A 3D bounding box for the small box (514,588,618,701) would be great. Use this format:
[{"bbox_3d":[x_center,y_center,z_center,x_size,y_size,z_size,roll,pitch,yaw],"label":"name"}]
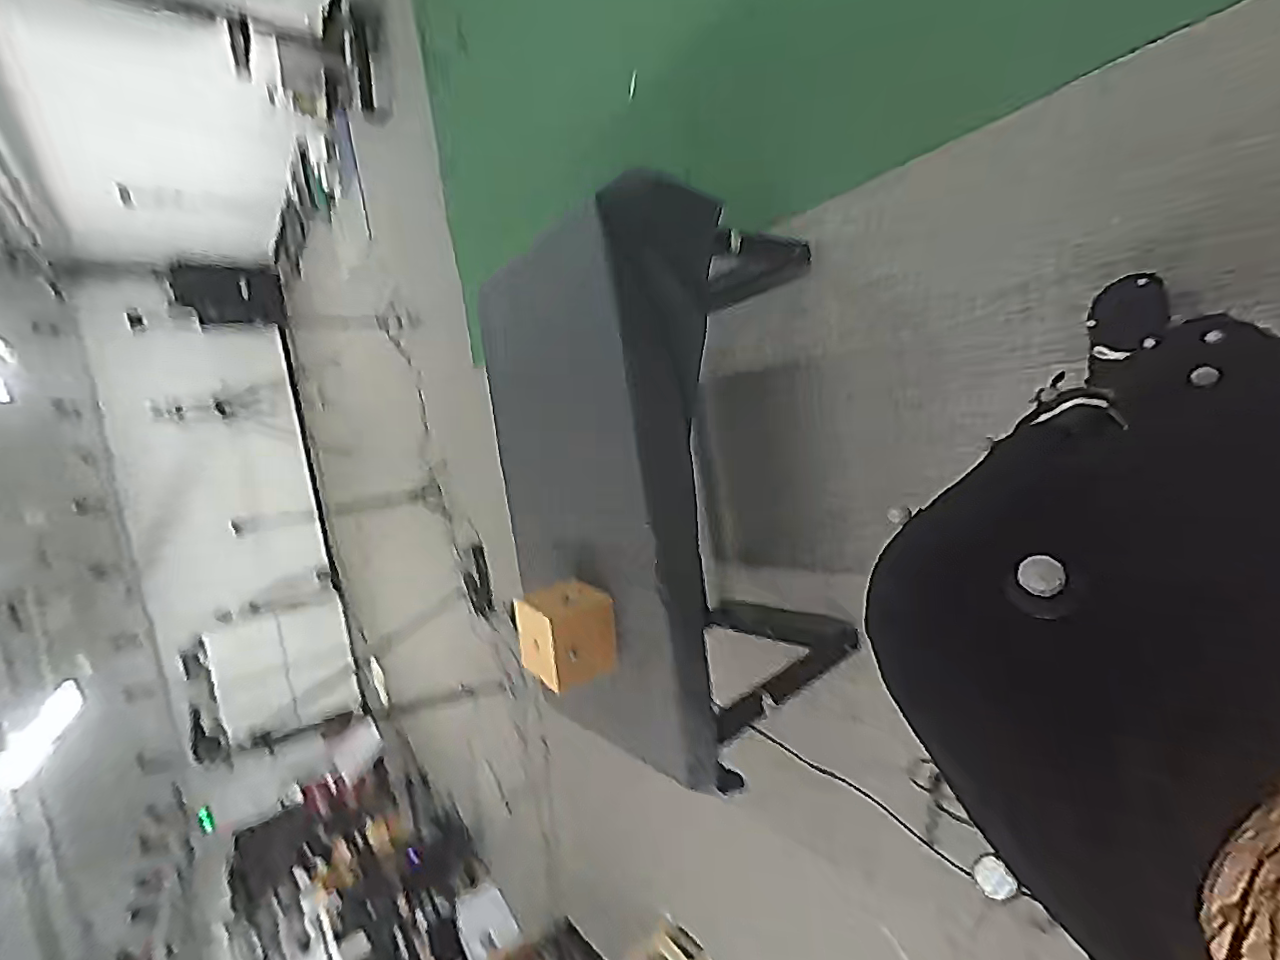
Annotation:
[{"bbox_3d":[-0.166,0.364,1.237,0.168,0.176,0.179,7,105,50],"label":"small box"}]
